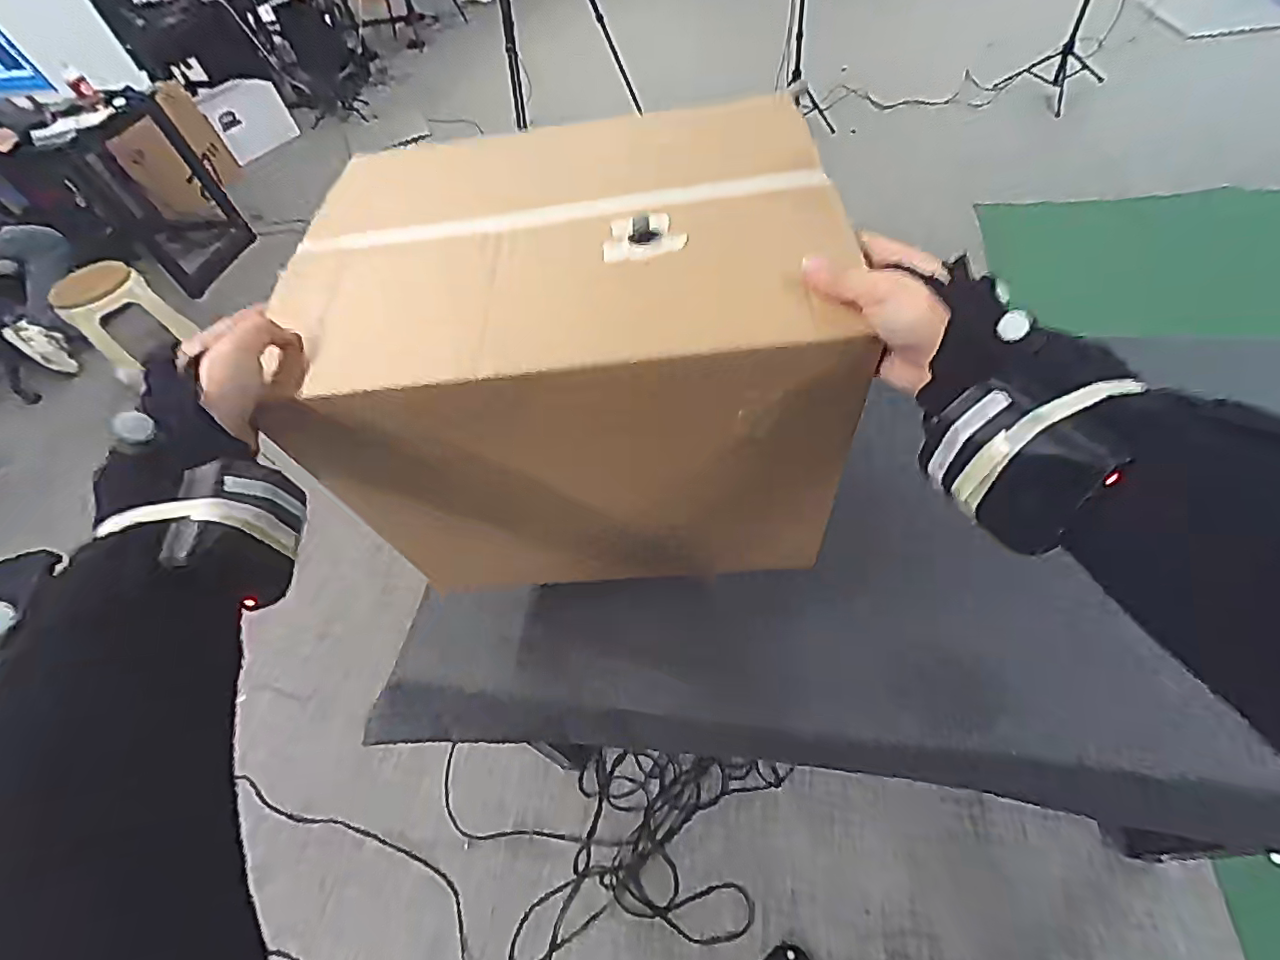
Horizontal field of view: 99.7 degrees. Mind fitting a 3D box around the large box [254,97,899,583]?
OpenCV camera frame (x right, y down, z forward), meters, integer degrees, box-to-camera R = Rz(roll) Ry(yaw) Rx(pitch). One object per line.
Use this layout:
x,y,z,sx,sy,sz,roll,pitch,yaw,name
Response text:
-0.036,-0.112,0.528,0.408,0.320,0.320,-5,57,4,large box
